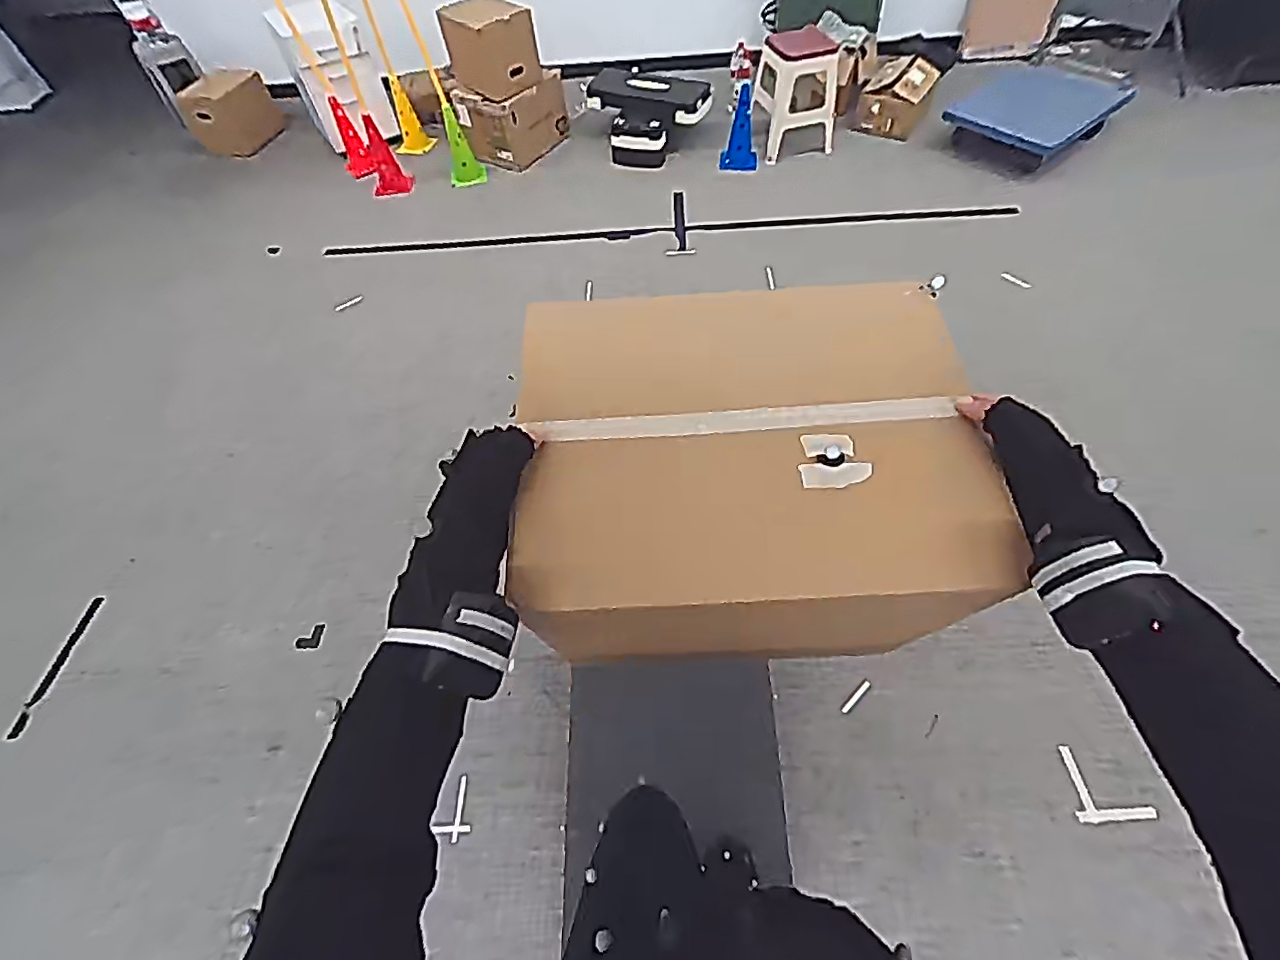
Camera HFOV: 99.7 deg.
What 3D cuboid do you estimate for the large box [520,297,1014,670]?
[{"bbox_3d":[0.096,0.026,0.627,0.408,0.320,0.320,-3,64,1],"label":"large box"}]
